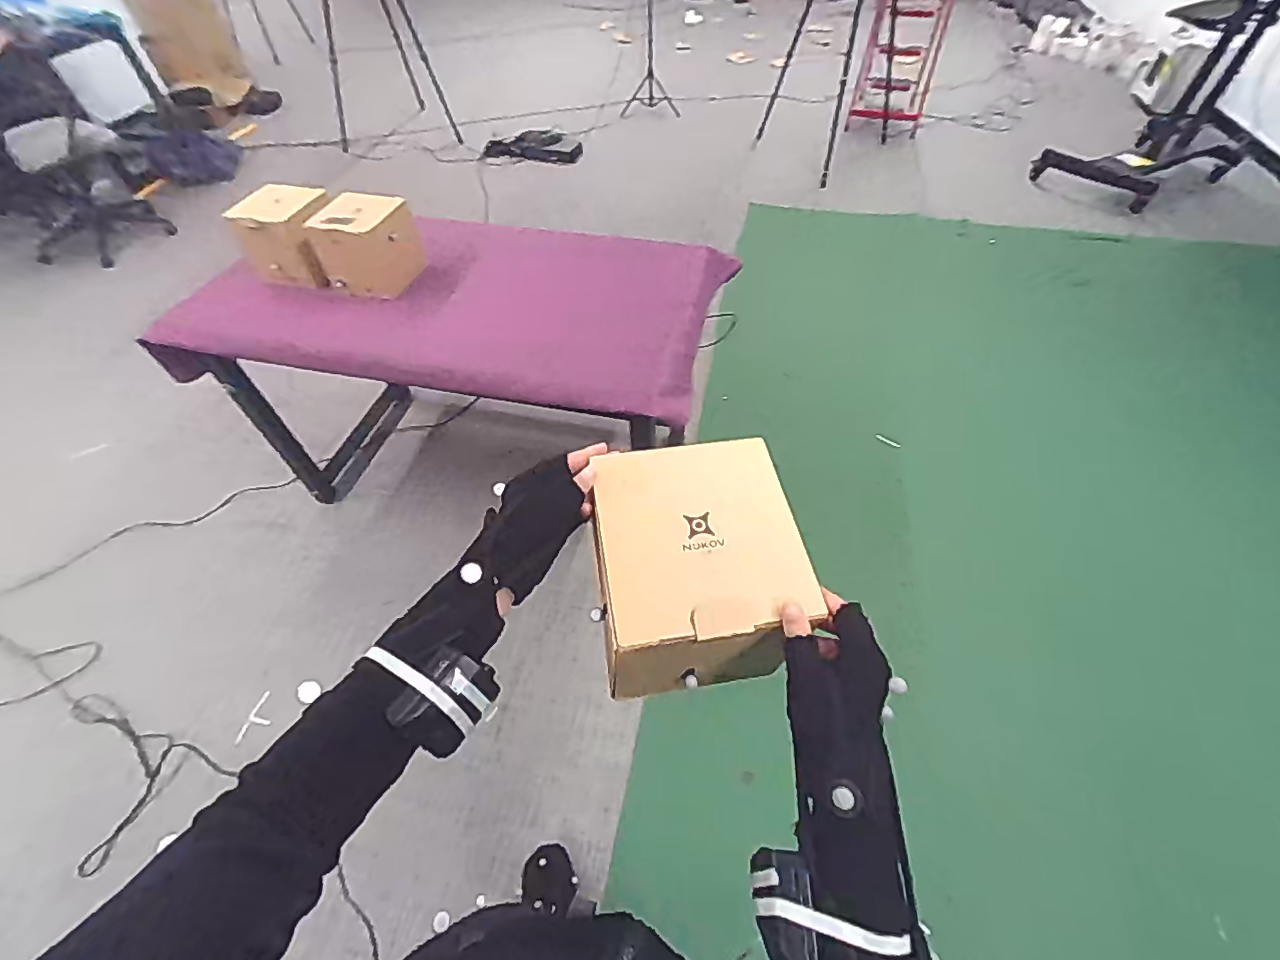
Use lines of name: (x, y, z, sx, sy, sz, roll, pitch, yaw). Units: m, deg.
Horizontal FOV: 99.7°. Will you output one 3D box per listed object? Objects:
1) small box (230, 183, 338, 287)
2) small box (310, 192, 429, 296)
small box: (-0.848, -0.611, 1.347, 0.168, 0.176, 0.179, 10, 53, 10)
small box: (-0.641, -0.570, 1.310, 0.168, 0.176, 0.179, 11, 52, 10)
